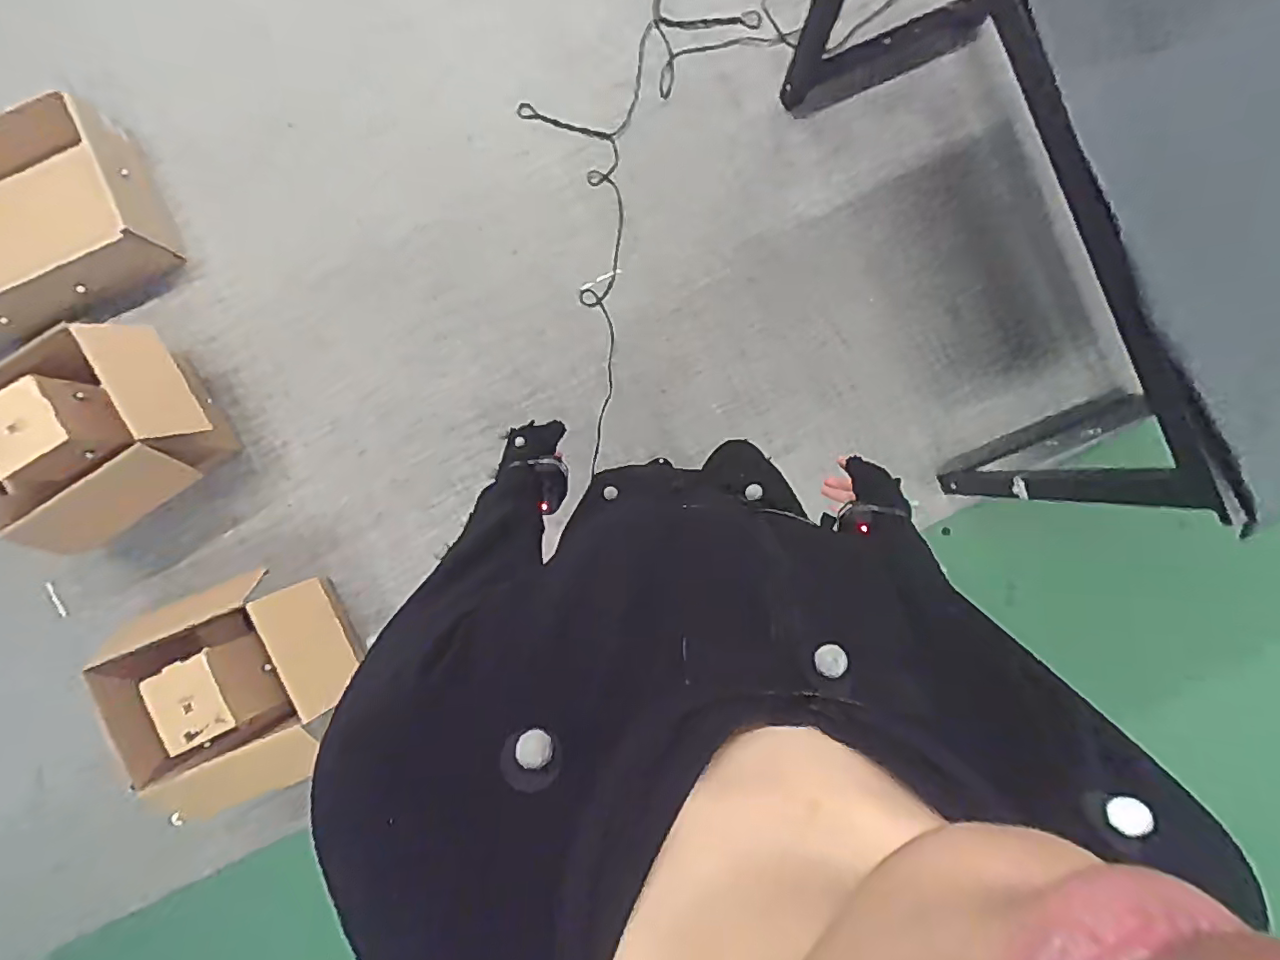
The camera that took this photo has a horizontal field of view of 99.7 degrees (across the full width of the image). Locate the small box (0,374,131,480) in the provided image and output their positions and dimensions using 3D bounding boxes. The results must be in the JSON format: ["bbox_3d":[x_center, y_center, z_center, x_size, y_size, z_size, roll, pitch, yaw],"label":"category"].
[{"bbox_3d":[-1.318,-0.114,1.220,0.179,0.176,0.168,-32,89,-1],"label":"small box"}]
